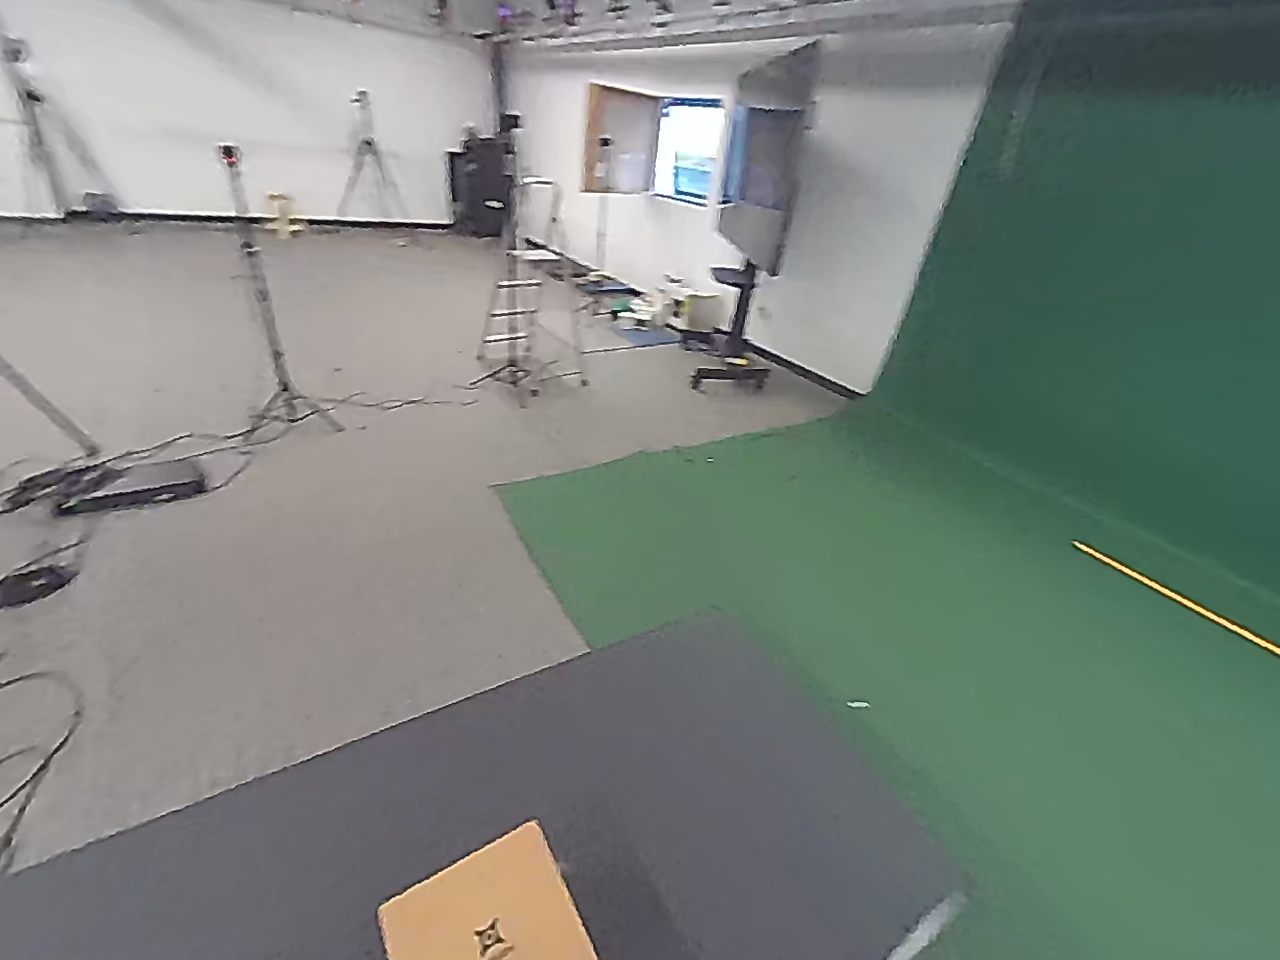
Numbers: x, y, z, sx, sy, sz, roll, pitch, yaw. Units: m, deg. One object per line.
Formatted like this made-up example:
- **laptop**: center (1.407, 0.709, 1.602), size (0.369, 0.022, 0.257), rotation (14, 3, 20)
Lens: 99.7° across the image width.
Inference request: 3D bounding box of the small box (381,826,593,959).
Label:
- **small box**: center (-0.152, 0.515, 0.553), size (0.168, 0.176, 0.179), rotation (-14, 37, -31)
